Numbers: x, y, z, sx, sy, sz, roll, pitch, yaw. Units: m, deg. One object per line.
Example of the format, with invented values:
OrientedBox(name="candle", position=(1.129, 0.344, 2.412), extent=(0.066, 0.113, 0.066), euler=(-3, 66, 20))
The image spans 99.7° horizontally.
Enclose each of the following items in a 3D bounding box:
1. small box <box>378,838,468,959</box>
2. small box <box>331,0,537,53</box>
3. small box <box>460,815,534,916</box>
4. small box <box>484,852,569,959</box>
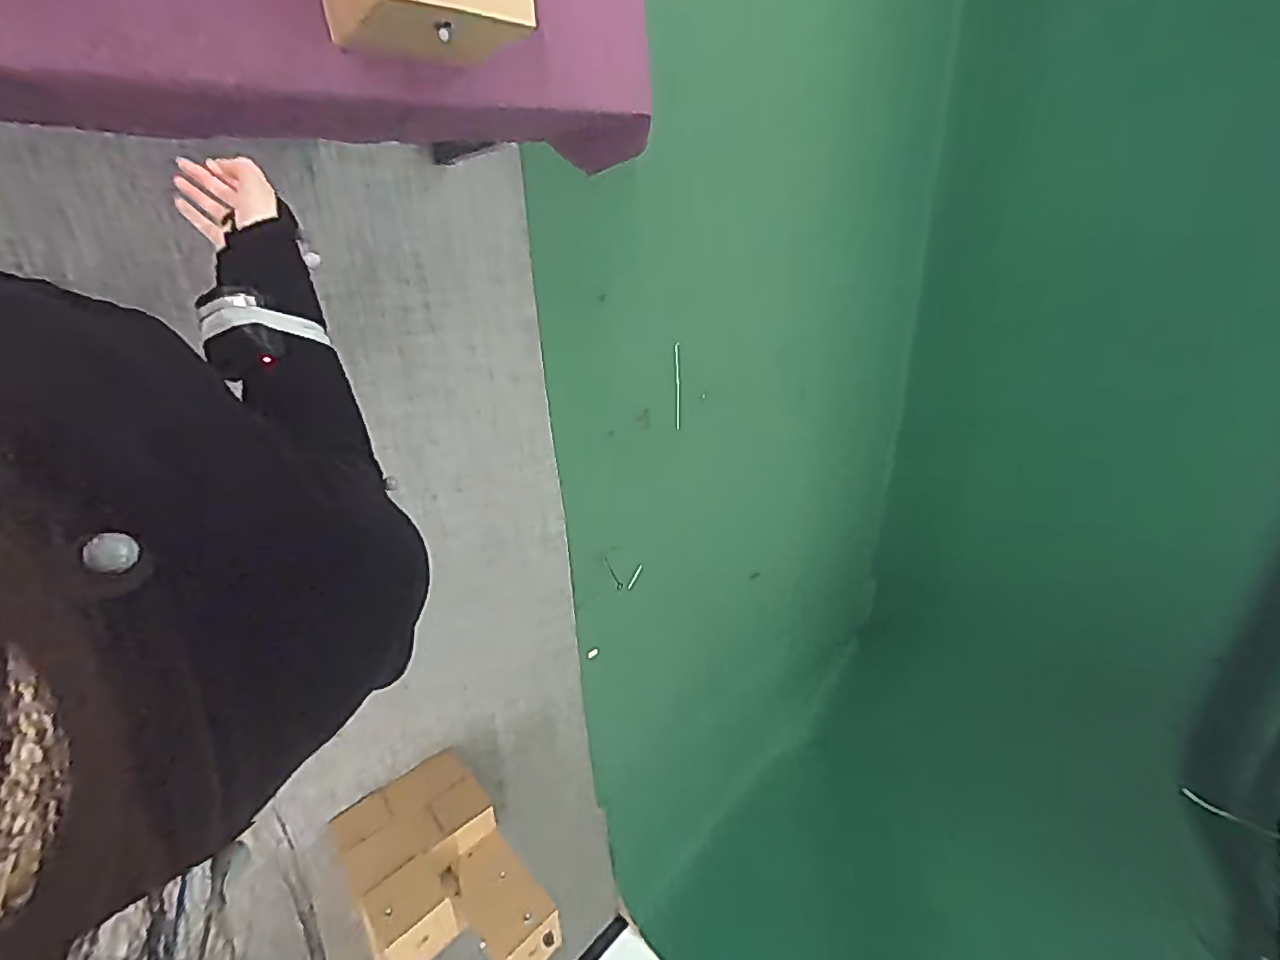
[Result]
OrientedBox(name="small box", position=(-0.609, 1.160, 1.505), extent=(0.179, 0.176, 0.168), euler=(-24, 123, -39))
OrientedBox(name="small box", position=(-0.241, -0.595, 0.589), extent=(0.179, 0.176, 0.168), euler=(-26, 122, -38))
OrientedBox(name="small box", position=(-0.445, 1.210, 1.701), extent=(0.168, 0.176, 0.179), euler=(-22, 122, -40))
OrientedBox(name="small box", position=(-0.332, 1.254, 1.588), extent=(0.179, 0.176, 0.168), euler=(-22, 121, -40))
